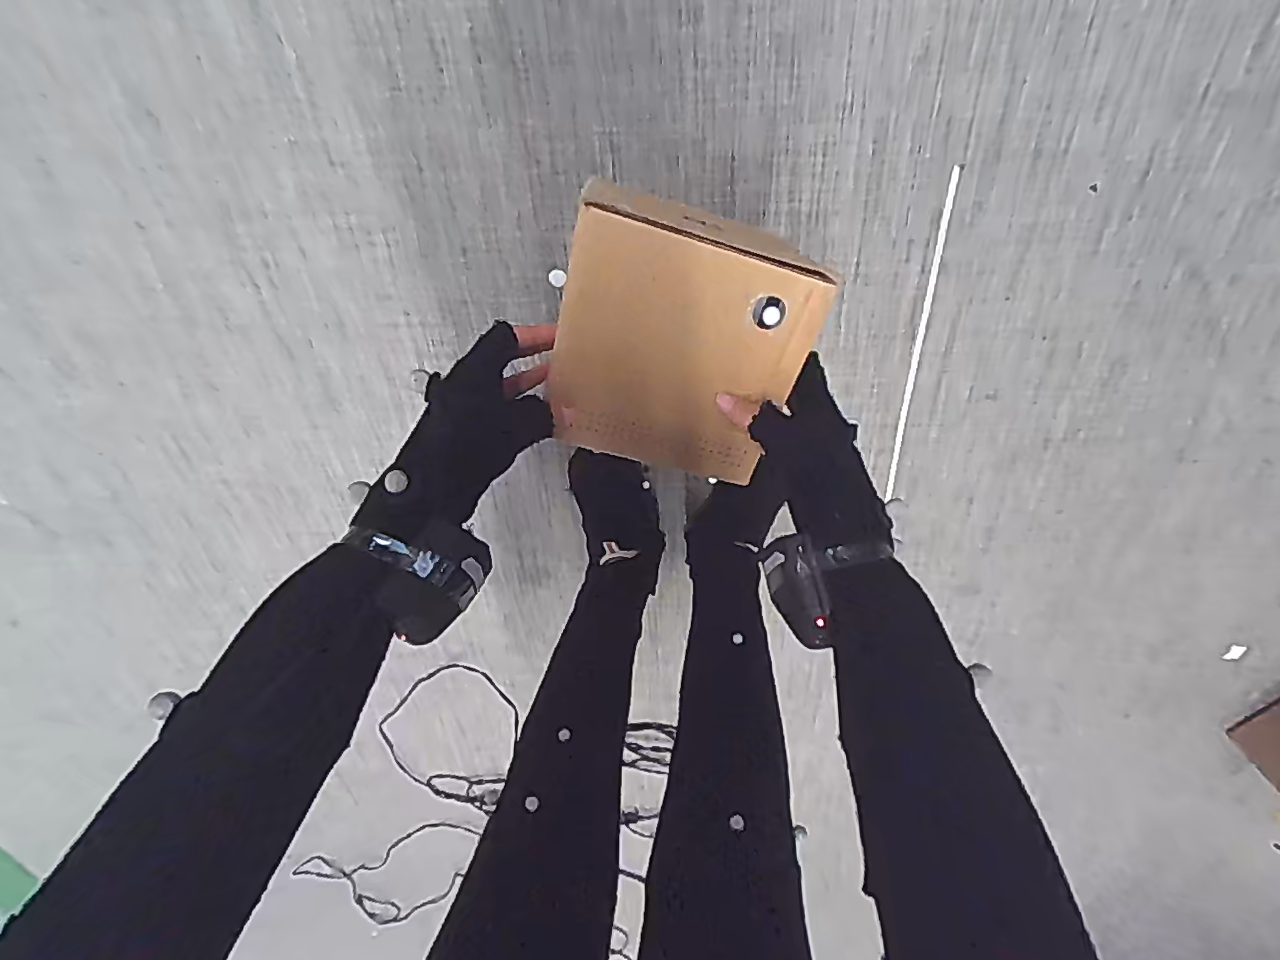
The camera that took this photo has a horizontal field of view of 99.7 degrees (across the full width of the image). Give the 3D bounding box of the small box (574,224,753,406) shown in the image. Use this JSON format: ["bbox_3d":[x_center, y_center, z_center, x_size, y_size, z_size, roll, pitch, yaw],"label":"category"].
[{"bbox_3d":[0.026,-0.199,0.630,0.179,0.176,0.168,5,121,3],"label":"small box"}]
